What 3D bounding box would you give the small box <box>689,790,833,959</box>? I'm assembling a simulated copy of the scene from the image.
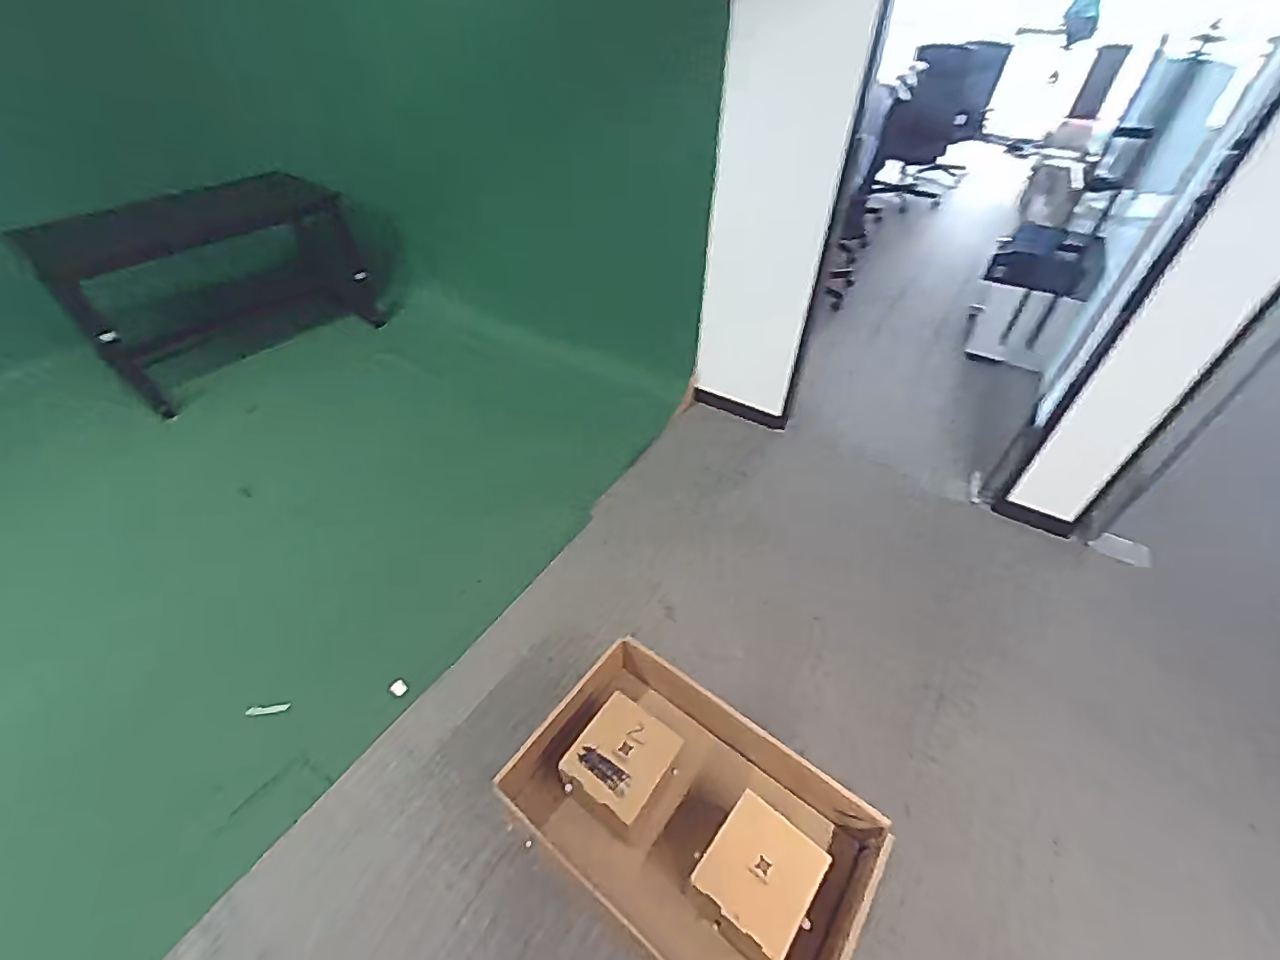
[{"bbox_3d":[0.196,0.681,0.923,0.168,0.176,0.179,31,52,26],"label":"small box"}]
